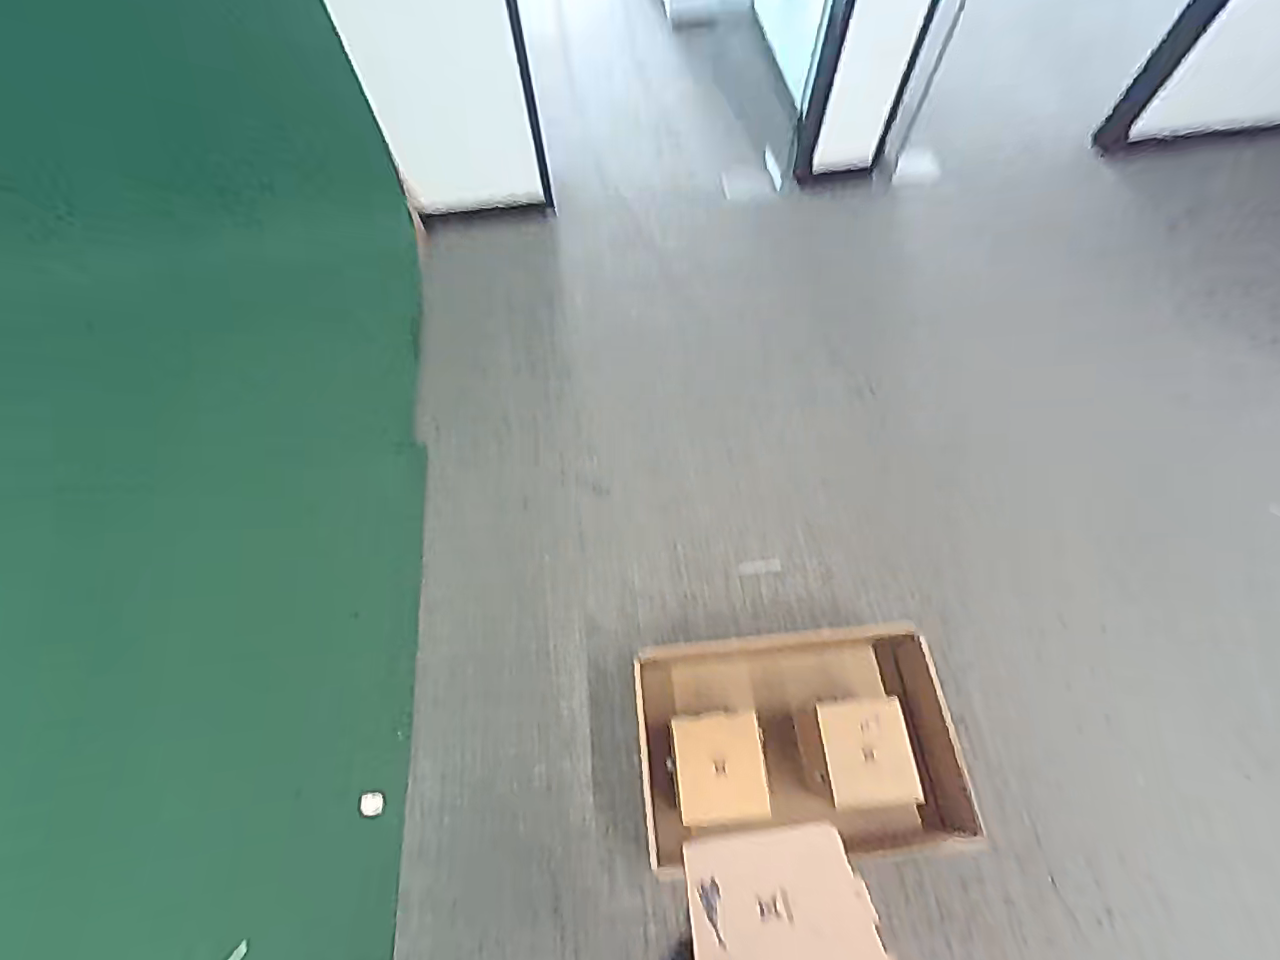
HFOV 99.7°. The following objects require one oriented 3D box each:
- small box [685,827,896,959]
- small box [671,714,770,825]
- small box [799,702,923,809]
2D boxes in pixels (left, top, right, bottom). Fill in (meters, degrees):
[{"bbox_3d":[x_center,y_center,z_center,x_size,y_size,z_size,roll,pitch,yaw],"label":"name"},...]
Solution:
[{"bbox_3d":[0.145,0.489,0.538,0.179,0.168,0.176,-7,105,1],"label":"small box"},{"bbox_3d":[0.152,0.575,1.083,0.168,0.176,0.179,-5,62,-1],"label":"small box"},{"bbox_3d":[0.433,0.549,1.089,0.168,0.176,0.179,-4,64,0],"label":"small box"}]
